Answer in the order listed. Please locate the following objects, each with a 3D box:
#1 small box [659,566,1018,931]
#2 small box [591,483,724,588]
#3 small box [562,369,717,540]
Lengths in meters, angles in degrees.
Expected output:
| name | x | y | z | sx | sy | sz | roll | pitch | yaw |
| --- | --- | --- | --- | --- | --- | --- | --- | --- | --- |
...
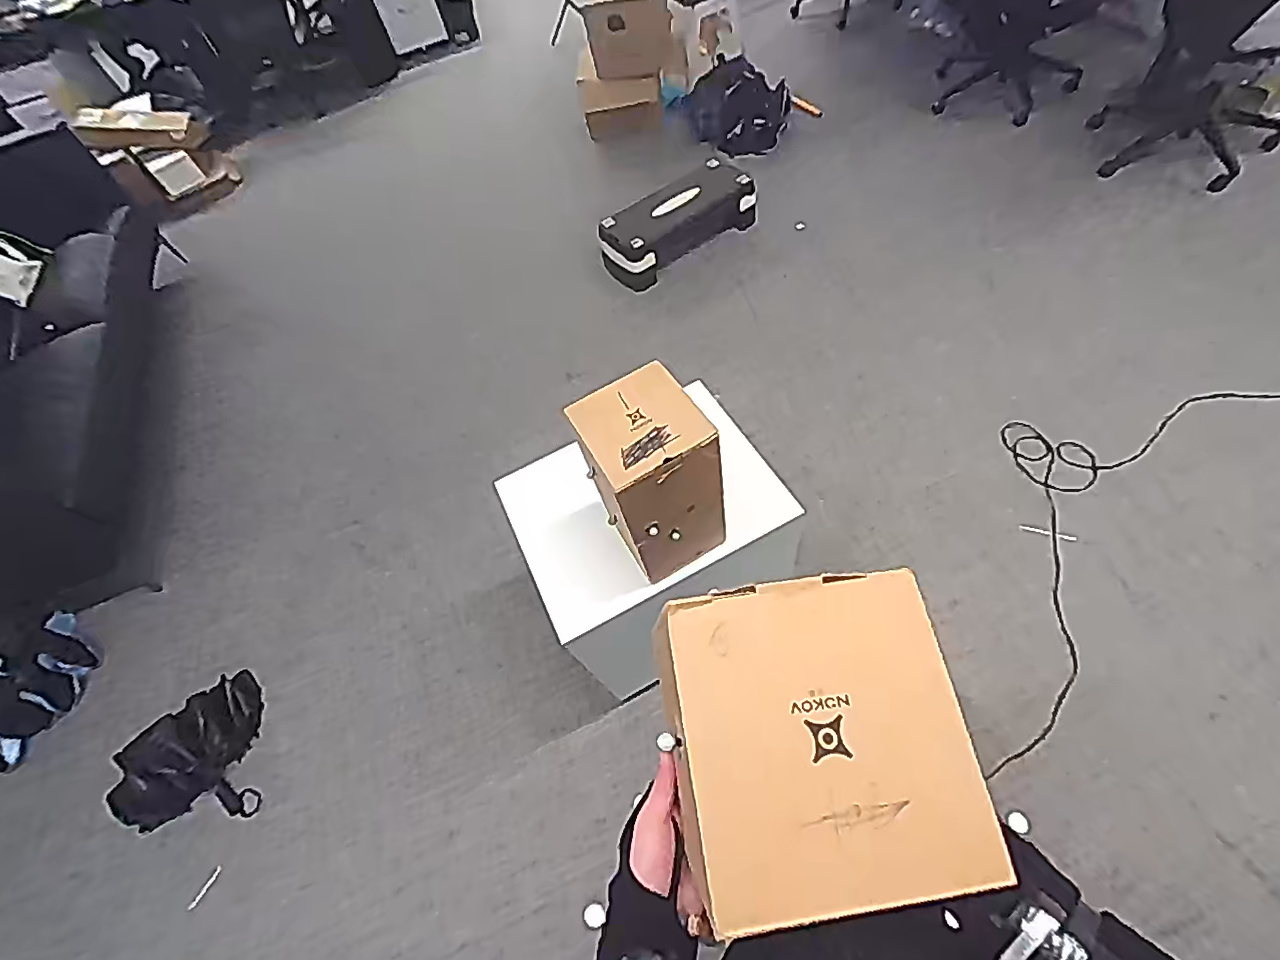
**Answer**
| name | x | y | z | sx | sy | sz | roll | pitch | yaw |
| --- | --- | --- | --- | --- | --- | --- | --- | --- | --- |
| small box | 0.109 | 0.176 | 0.389 | 0.168 | 0.176 | 0.179 | -8 | 68 | -4 |
| small box | 0.034 | 0.060 | 0.969 | 0.168 | 0.176 | 0.179 | -31 | 56 | -9 |
| small box | 0.007 | -0.029 | 0.834 | 0.168 | 0.176 | 0.179 | -30 | 56 | -9 |
